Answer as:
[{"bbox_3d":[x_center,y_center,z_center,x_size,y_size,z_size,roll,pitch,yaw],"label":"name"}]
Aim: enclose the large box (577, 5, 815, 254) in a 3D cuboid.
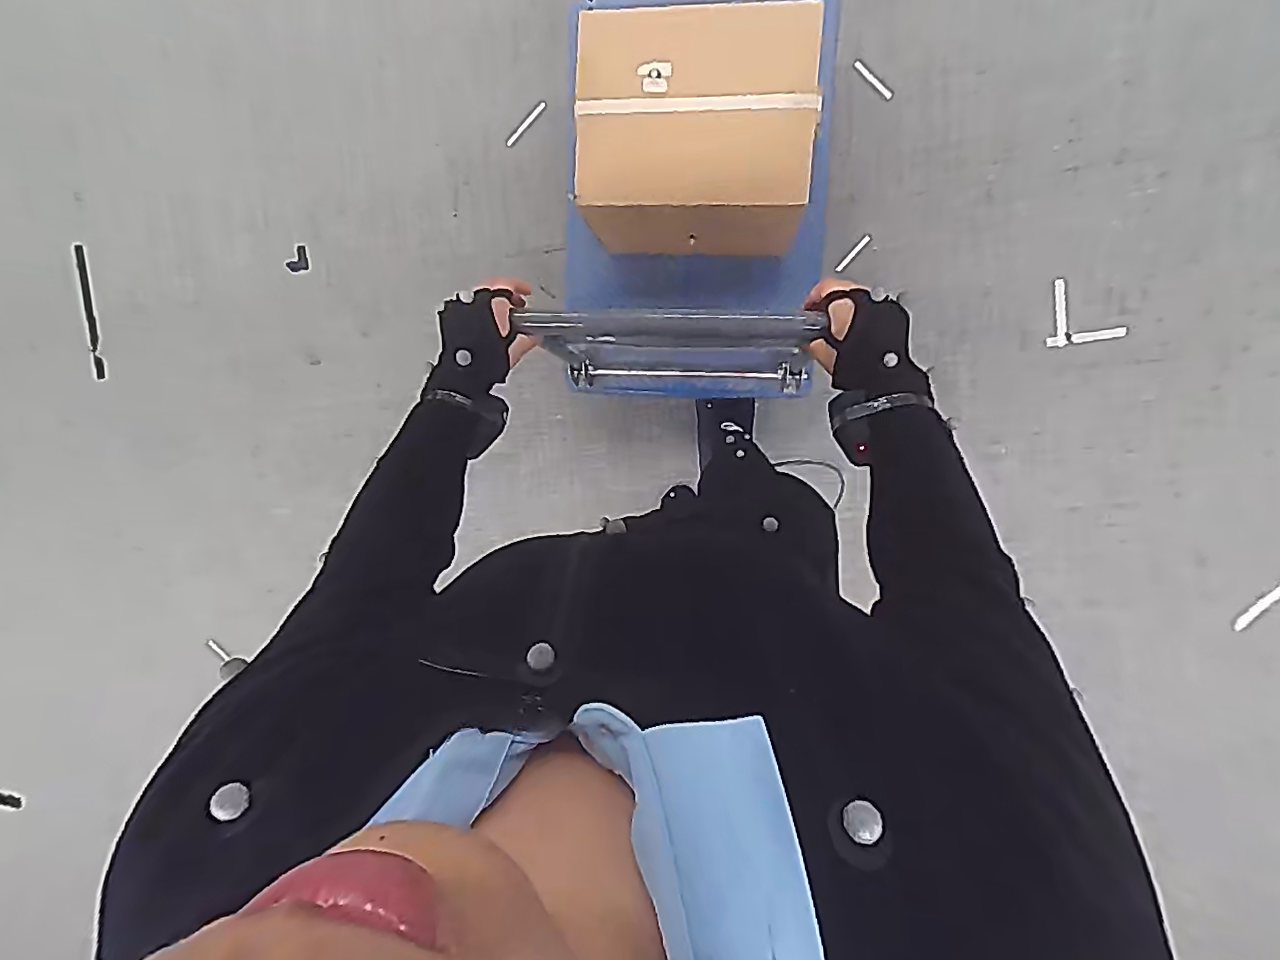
[{"bbox_3d":[0.111,-0.649,1.072,0.408,0.320,0.320,3,97,8],"label":"large box"}]
